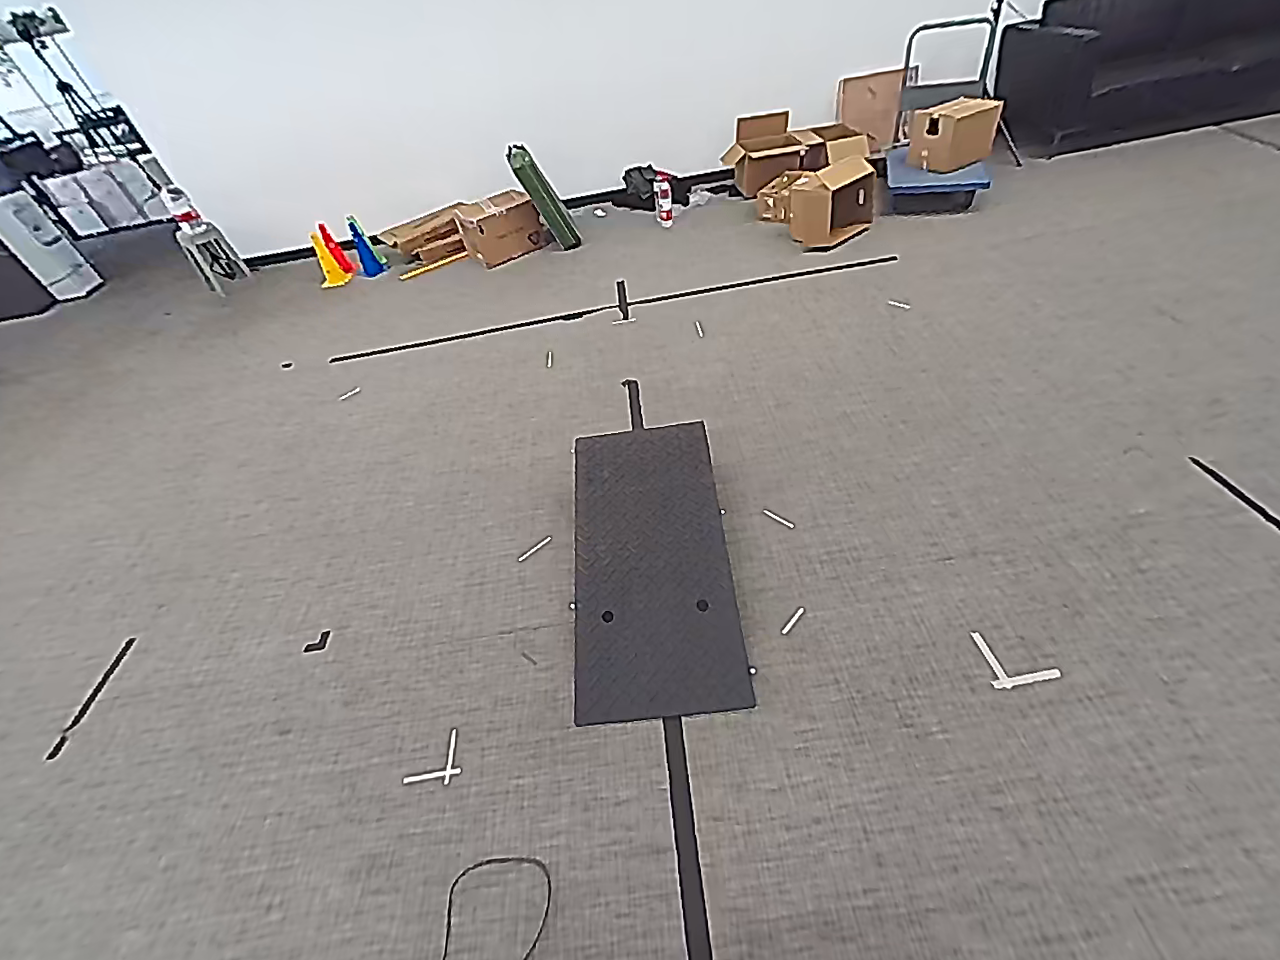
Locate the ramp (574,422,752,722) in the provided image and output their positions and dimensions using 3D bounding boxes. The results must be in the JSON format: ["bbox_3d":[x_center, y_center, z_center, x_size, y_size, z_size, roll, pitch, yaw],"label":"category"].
[{"bbox_3d":[0.030,0.222,1.737,0.509,0.206,0.991,-8,45,2],"label":"ramp"}]
